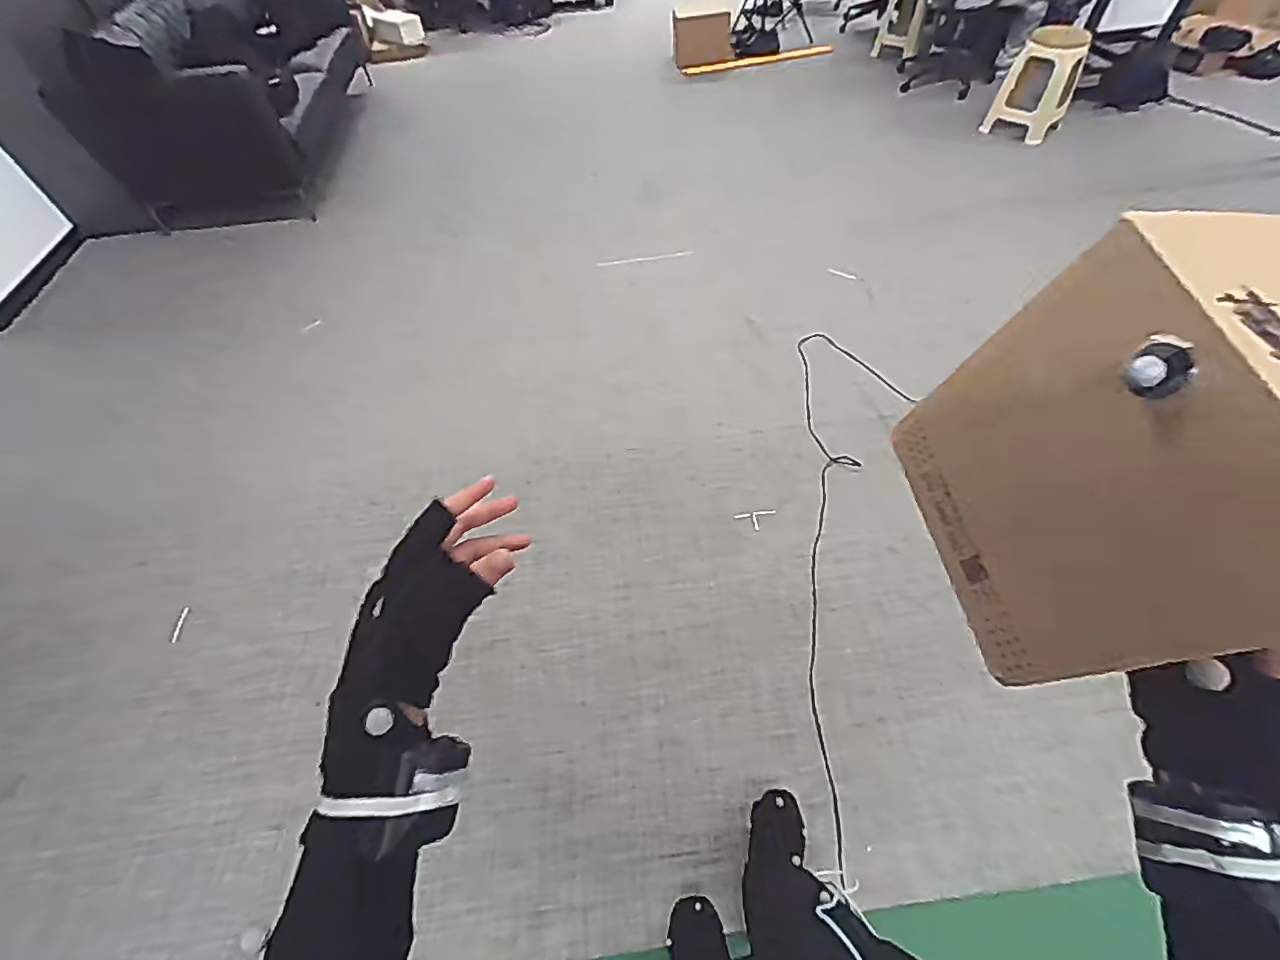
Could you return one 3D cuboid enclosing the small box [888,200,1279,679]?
[{"bbox_3d":[0.269,-0.006,0.272,0.179,0.176,0.168,-3,63,-15],"label":"small box"}]
